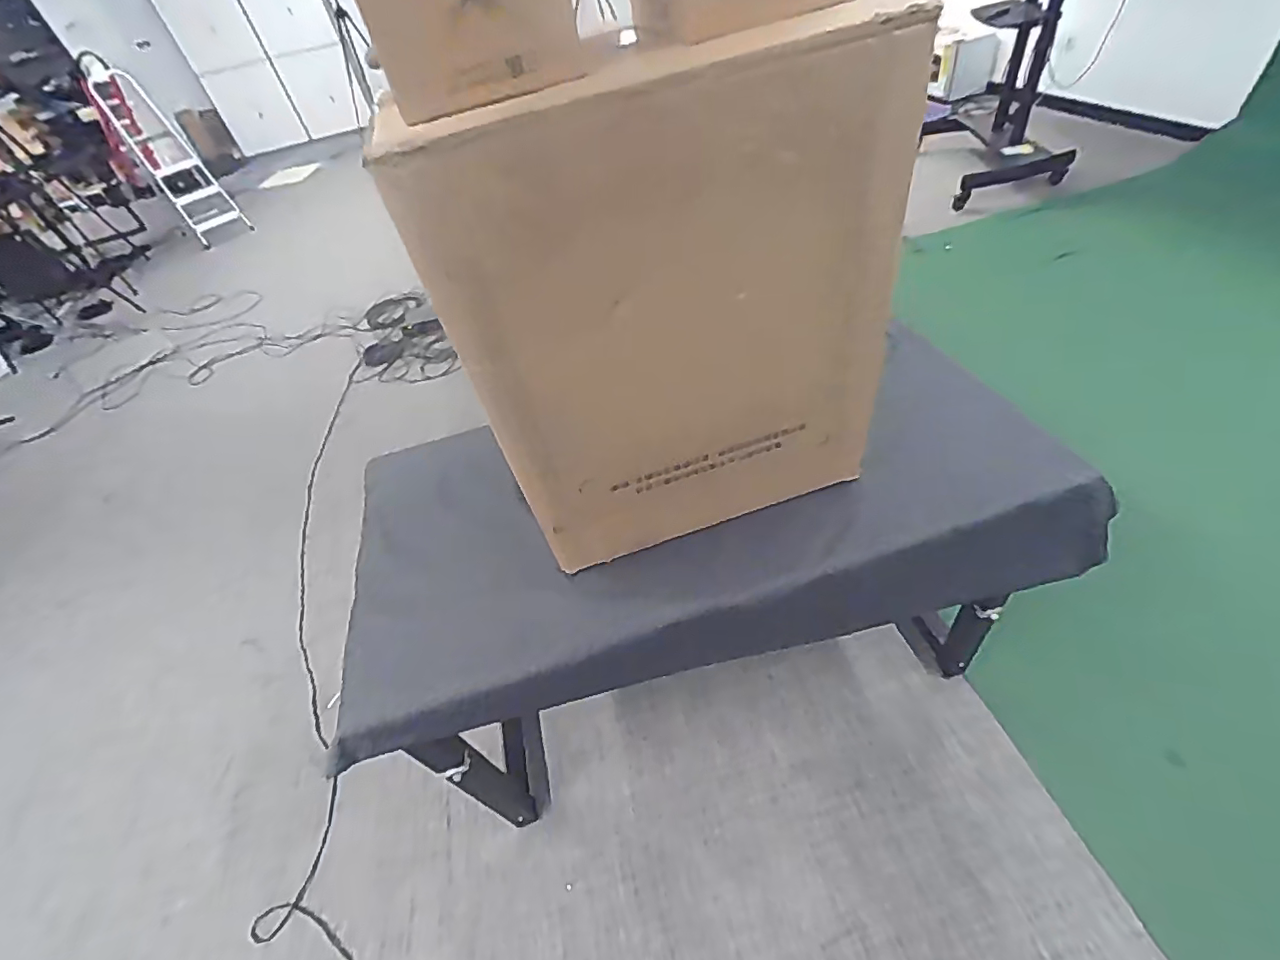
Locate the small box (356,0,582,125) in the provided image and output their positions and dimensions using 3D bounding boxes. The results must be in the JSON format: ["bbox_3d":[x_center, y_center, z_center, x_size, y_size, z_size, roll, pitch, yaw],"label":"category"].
[{"bbox_3d":[-0.160,-0.435,0.471,0.168,0.176,0.179,-19,49,-6],"label":"small box"}]

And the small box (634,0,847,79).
[{"bbox_3d":[0.091,-0.513,0.513,0.179,0.176,0.168,-21,47,-7],"label":"small box"}]
